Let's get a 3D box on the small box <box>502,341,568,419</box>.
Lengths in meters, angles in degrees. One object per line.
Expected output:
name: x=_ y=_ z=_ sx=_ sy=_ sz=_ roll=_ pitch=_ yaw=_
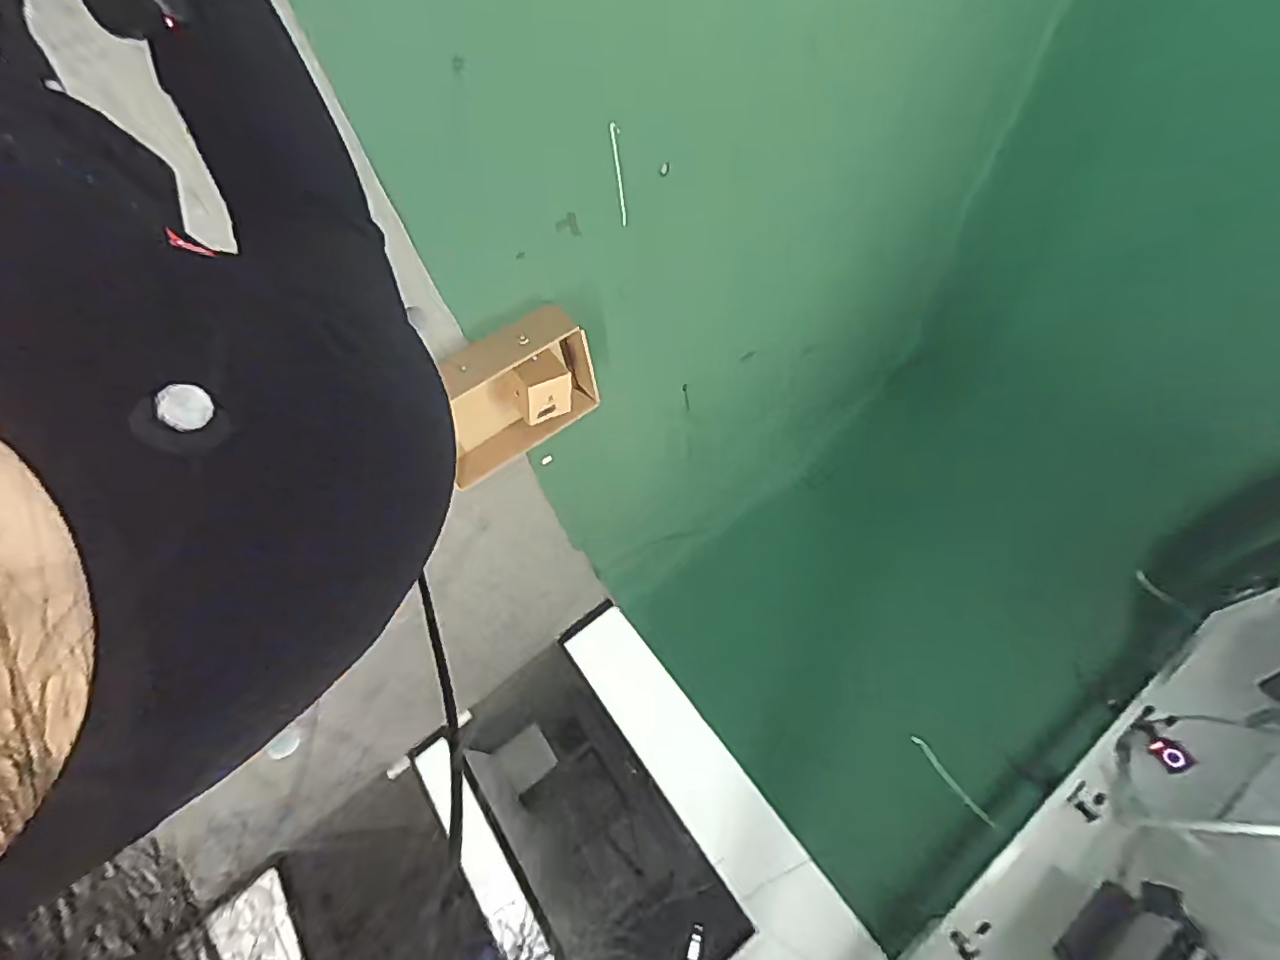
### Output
small box: x=-0.363 y=-0.348 z=1.864 sx=0.168 sy=0.176 sz=0.179 roll=-26 pitch=150 yaw=-27
